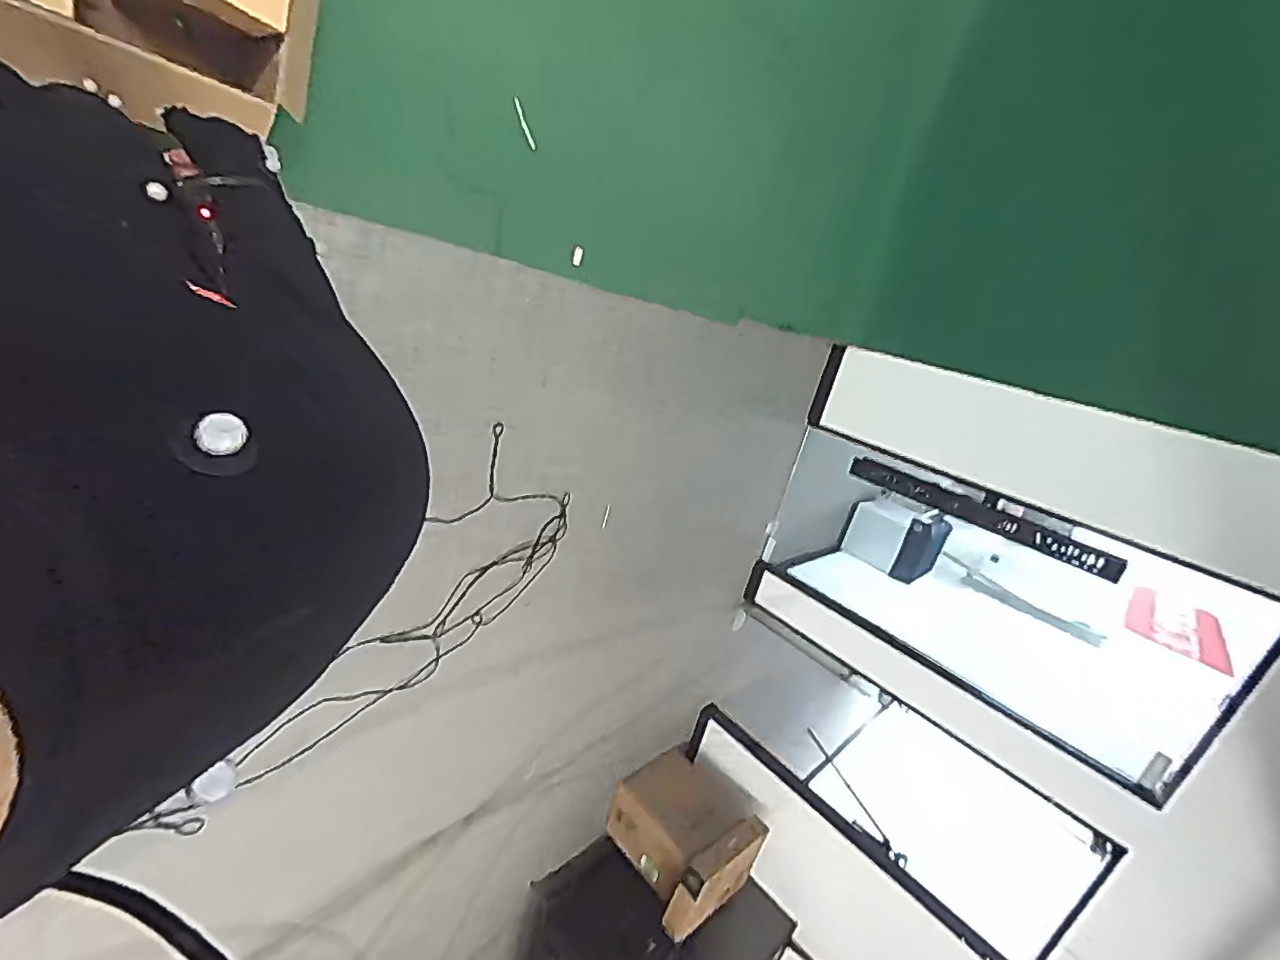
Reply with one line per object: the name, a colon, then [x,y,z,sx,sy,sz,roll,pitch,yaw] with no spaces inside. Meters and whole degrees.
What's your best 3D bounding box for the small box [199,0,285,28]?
small box: [-0.609,-0.786,0.764,0.168,0.176,0.179,1,113,-50]
